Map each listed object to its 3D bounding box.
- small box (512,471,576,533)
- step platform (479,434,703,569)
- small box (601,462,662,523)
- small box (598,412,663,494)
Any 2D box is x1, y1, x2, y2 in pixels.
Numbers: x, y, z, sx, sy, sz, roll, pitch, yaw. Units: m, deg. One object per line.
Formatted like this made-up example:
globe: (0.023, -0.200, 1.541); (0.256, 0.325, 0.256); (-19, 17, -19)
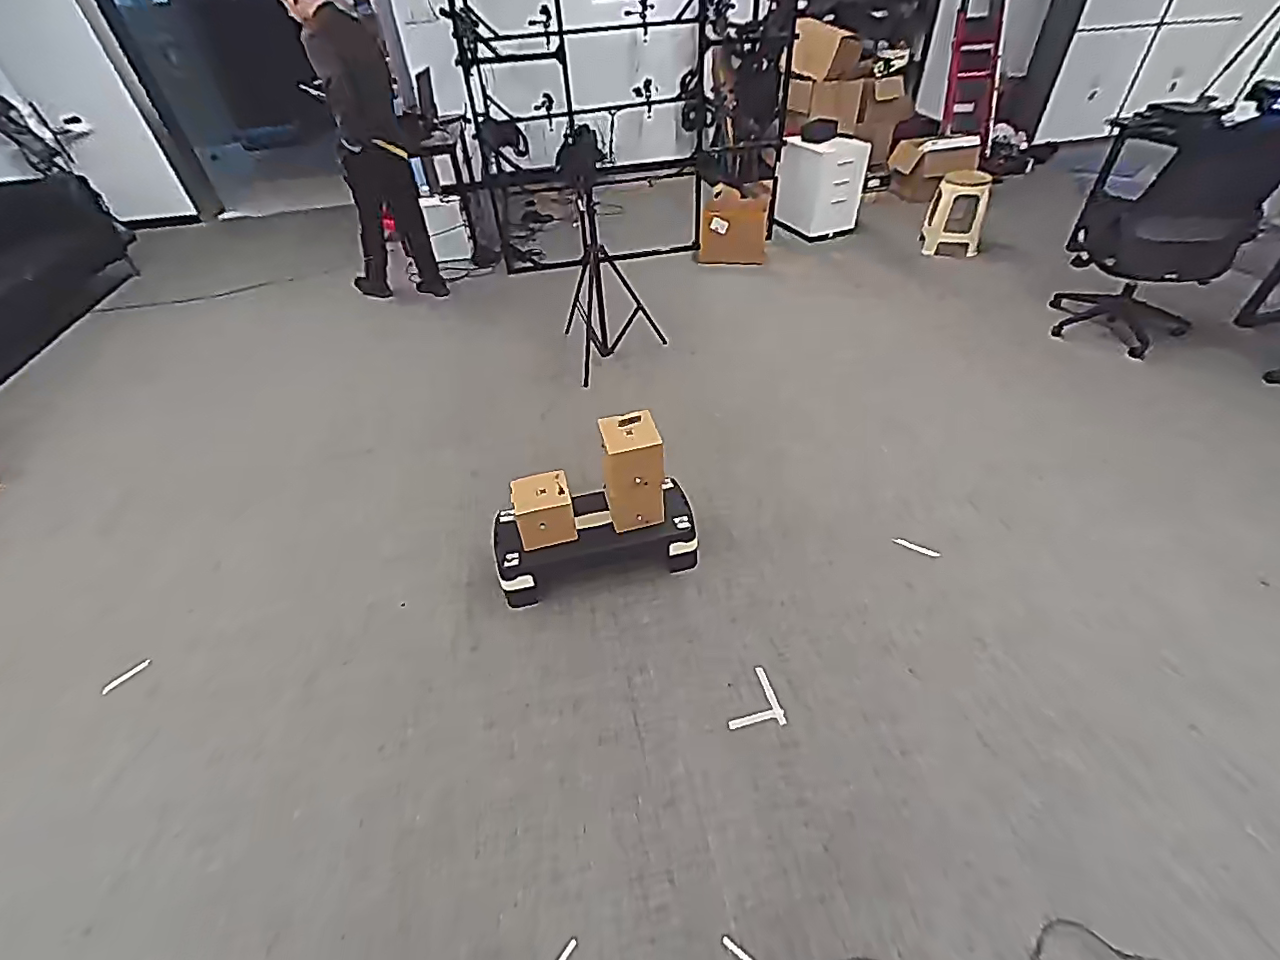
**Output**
small box: (-0.309, 0.100, 1.753); (0.179, 0.176, 0.168); (-13, 44, -9)
step platform: (-0.148, 0.065, 1.725); (0.684, 0.204, 0.286); (-11, 43, -8)
small box: (-0.028, 0.041, 1.793); (0.168, 0.176, 0.179); (-13, 44, -8)
small box: (-0.029, -0.084, 1.685); (0.168, 0.176, 0.179); (-13, 44, -8)
